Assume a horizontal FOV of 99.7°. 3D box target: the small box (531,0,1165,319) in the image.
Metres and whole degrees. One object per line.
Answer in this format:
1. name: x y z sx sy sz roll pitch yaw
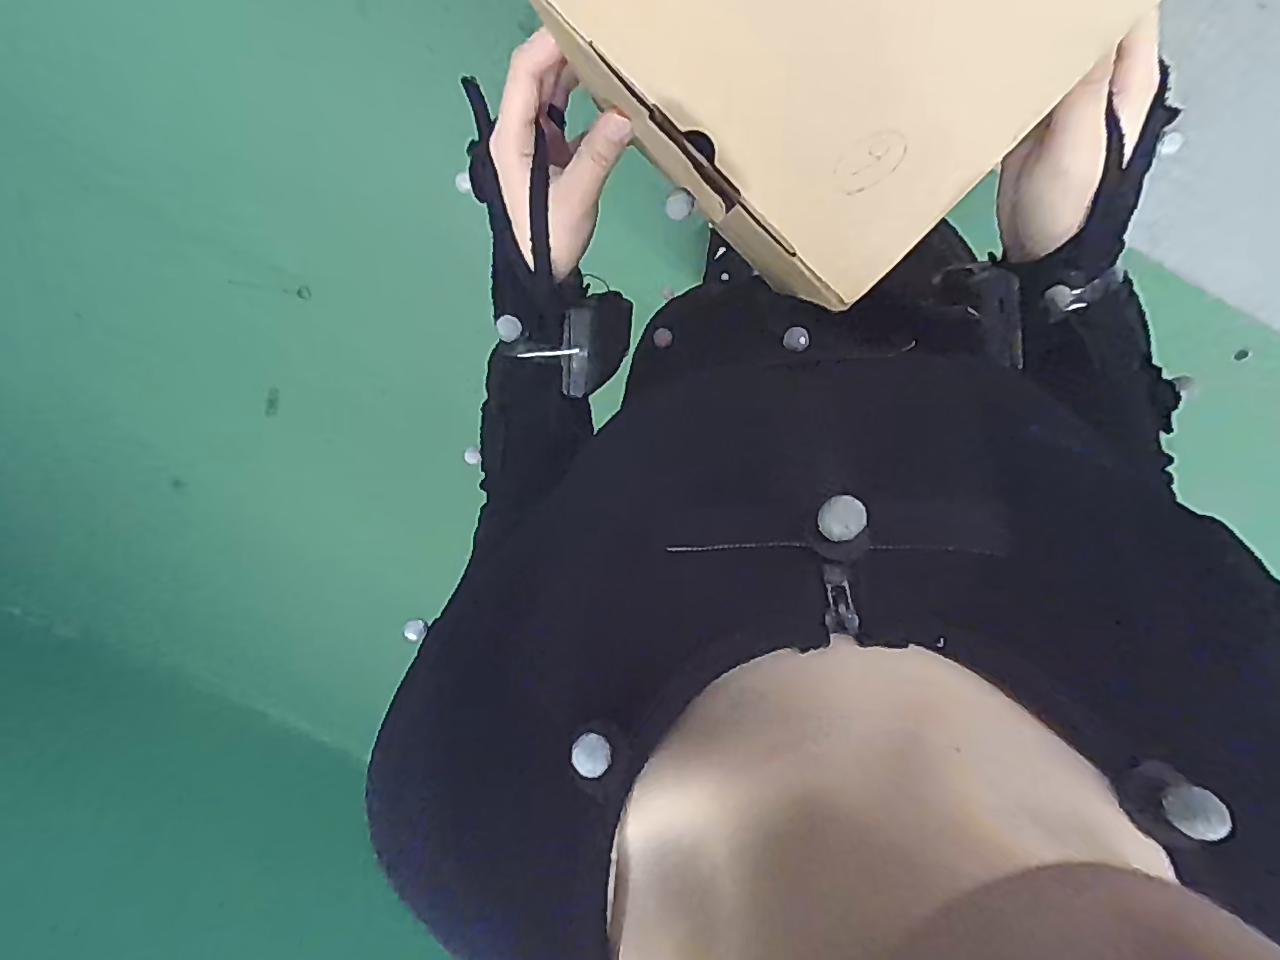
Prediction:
1. small box: 0.084 -0.204 0.255 0.168 0.176 0.179 41 111 -11
